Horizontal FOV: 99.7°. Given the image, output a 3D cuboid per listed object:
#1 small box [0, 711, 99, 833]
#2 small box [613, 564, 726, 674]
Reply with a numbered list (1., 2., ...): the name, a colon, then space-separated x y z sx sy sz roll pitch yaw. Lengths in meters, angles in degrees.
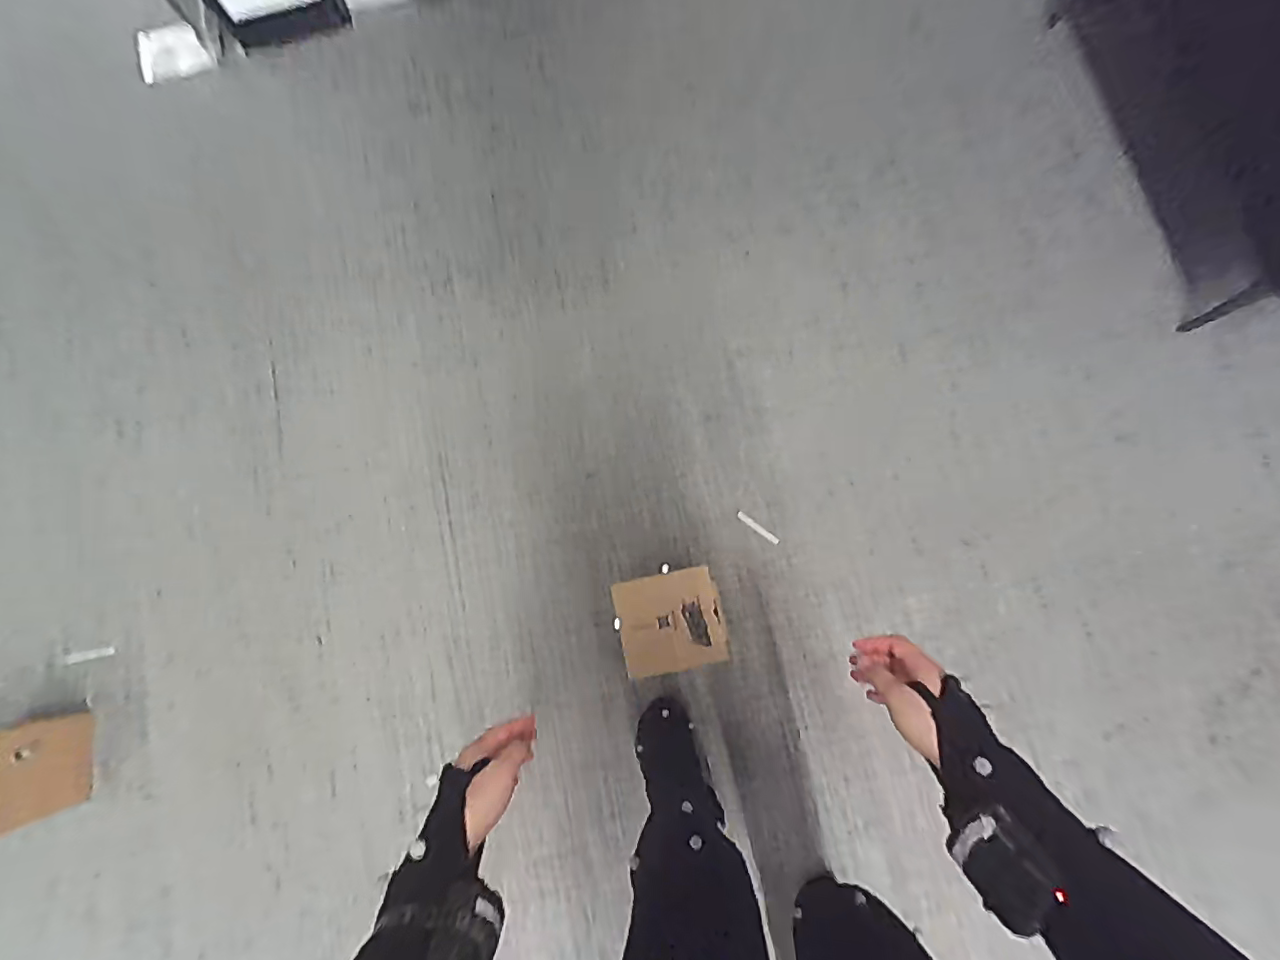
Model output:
1. small box: -1.184 0.547 1.019 0.168 0.176 0.179 -7 79 2
2. small box: 0.053 0.255 1.025 0.179 0.176 0.168 -12 79 1
